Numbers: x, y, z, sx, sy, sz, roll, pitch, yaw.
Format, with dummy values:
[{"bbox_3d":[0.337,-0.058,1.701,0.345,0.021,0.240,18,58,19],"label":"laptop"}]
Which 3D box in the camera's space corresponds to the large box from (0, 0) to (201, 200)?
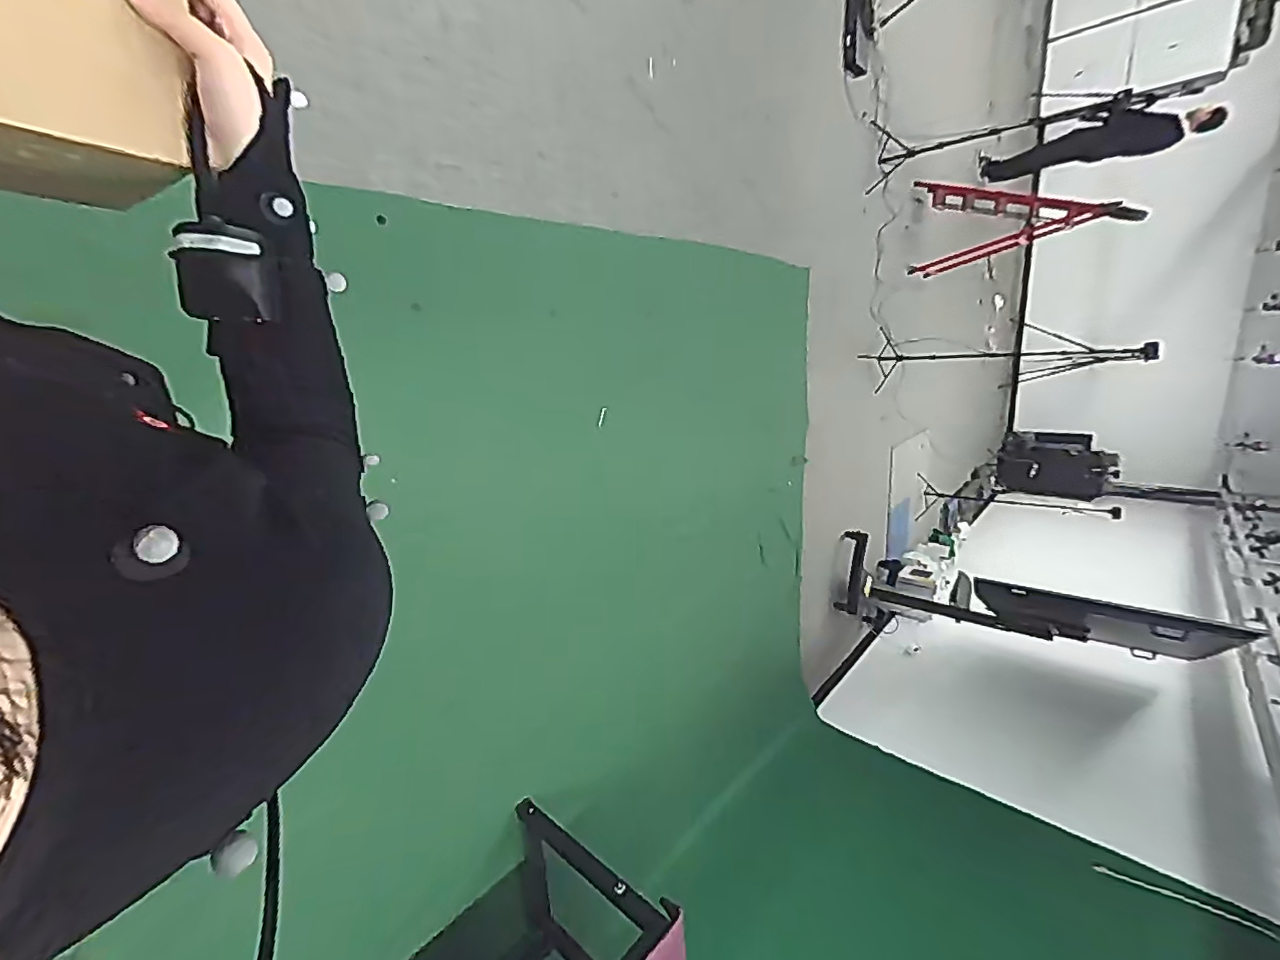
[{"bbox_3d":[-0.545,-0.377,0.290,0.408,0.320,0.320,-12,112,-49],"label":"large box"}]
